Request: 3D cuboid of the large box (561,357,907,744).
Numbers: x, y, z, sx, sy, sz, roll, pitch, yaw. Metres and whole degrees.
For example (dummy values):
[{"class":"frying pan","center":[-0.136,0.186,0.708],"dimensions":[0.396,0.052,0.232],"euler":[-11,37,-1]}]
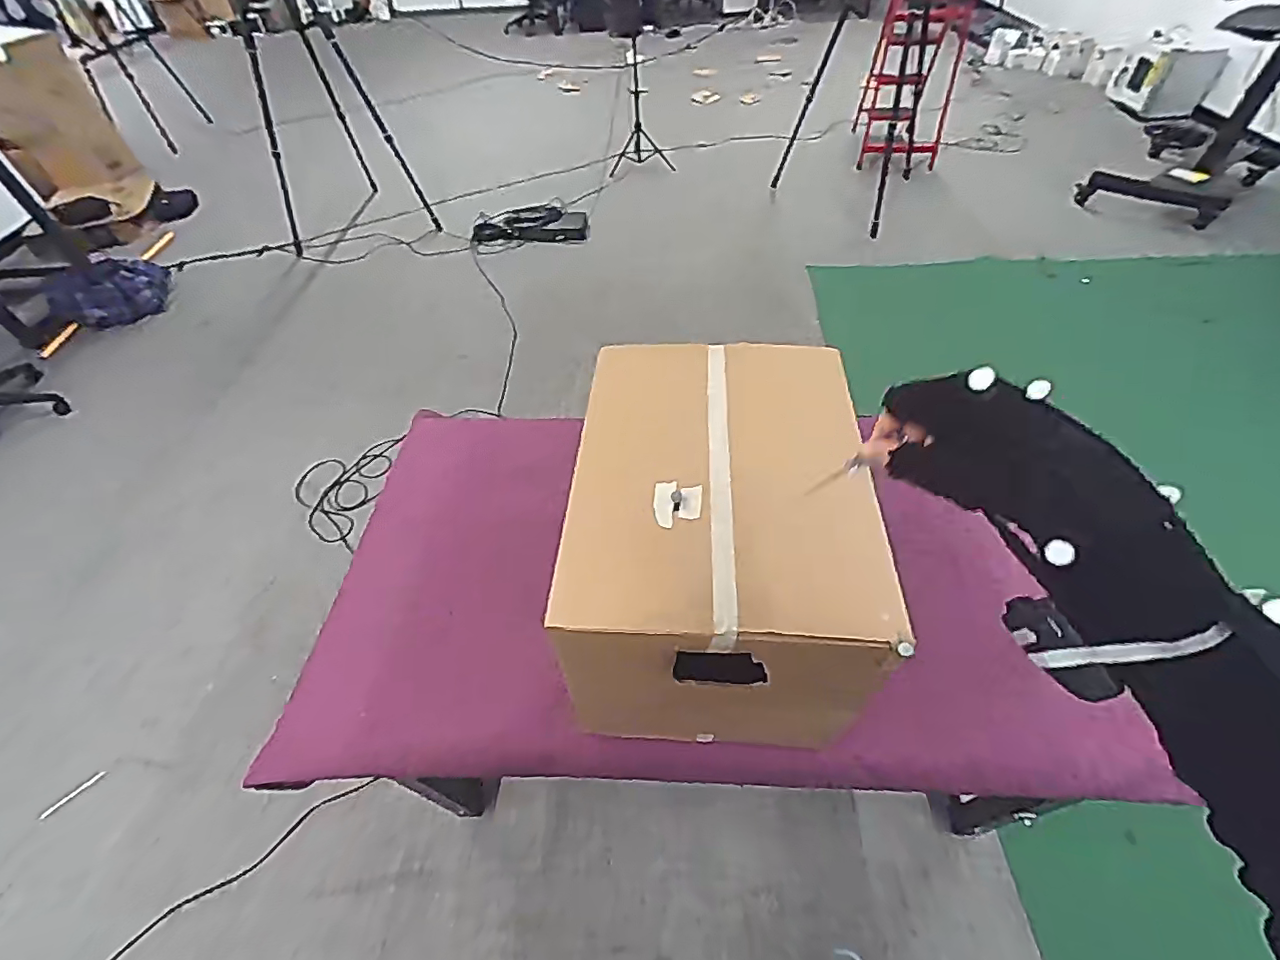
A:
[{"class":"large box","center":[0.095,0.086,0.714],"dimensions":[0.320,0.320,0.408],"euler":[2,50,5]}]
